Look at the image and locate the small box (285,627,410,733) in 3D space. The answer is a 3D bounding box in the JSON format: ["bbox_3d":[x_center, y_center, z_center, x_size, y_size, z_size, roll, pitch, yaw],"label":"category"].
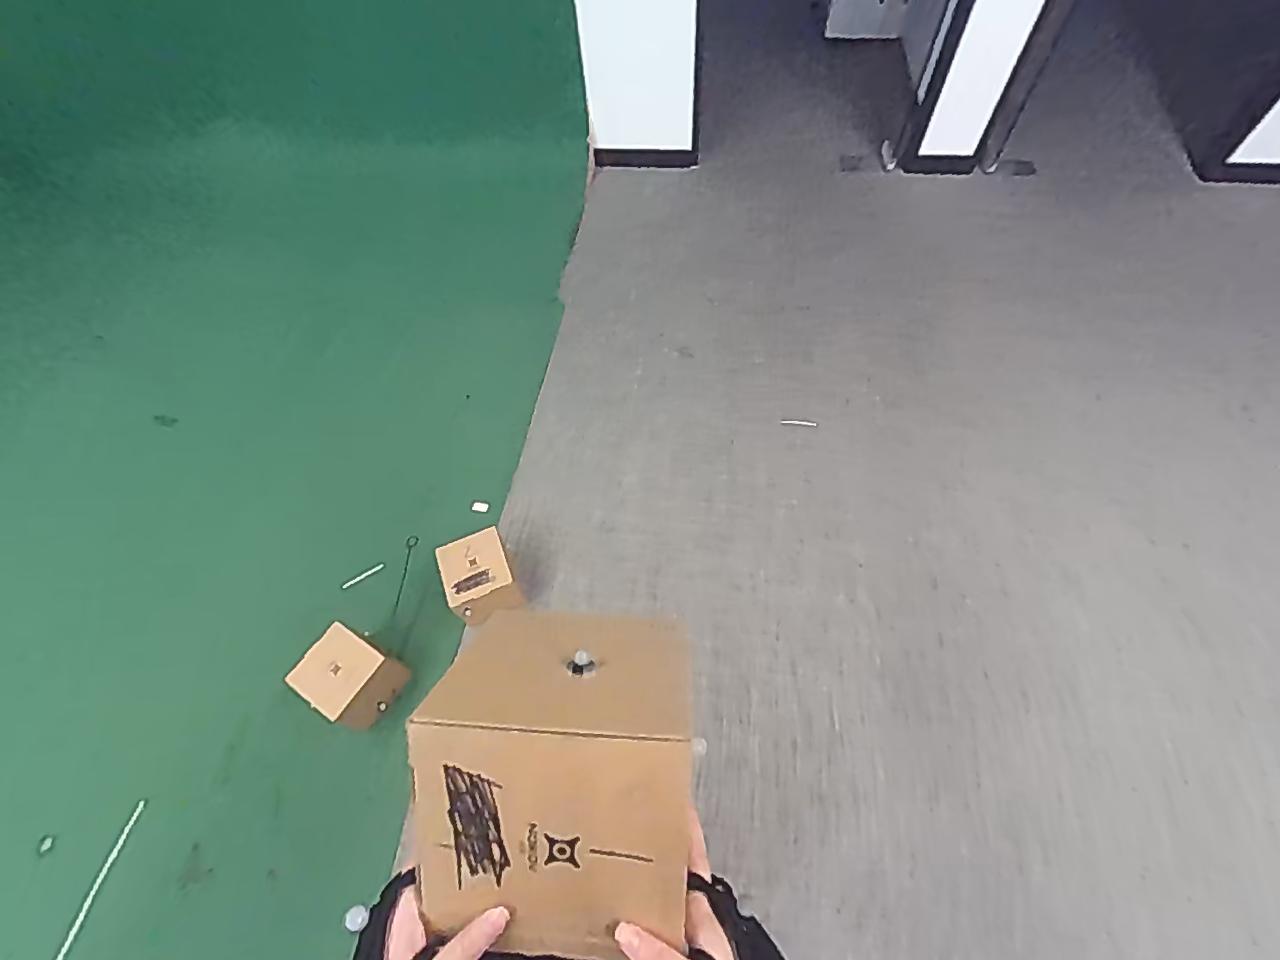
[{"bbox_3d":[-0.709,0.498,1.328,0.179,0.176,0.168,27,64,19],"label":"small box"}]

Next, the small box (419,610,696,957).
[{"bbox_3d":[-0.050,0.212,0.423,0.179,0.176,0.168,3,100,3],"label":"small box"}]
